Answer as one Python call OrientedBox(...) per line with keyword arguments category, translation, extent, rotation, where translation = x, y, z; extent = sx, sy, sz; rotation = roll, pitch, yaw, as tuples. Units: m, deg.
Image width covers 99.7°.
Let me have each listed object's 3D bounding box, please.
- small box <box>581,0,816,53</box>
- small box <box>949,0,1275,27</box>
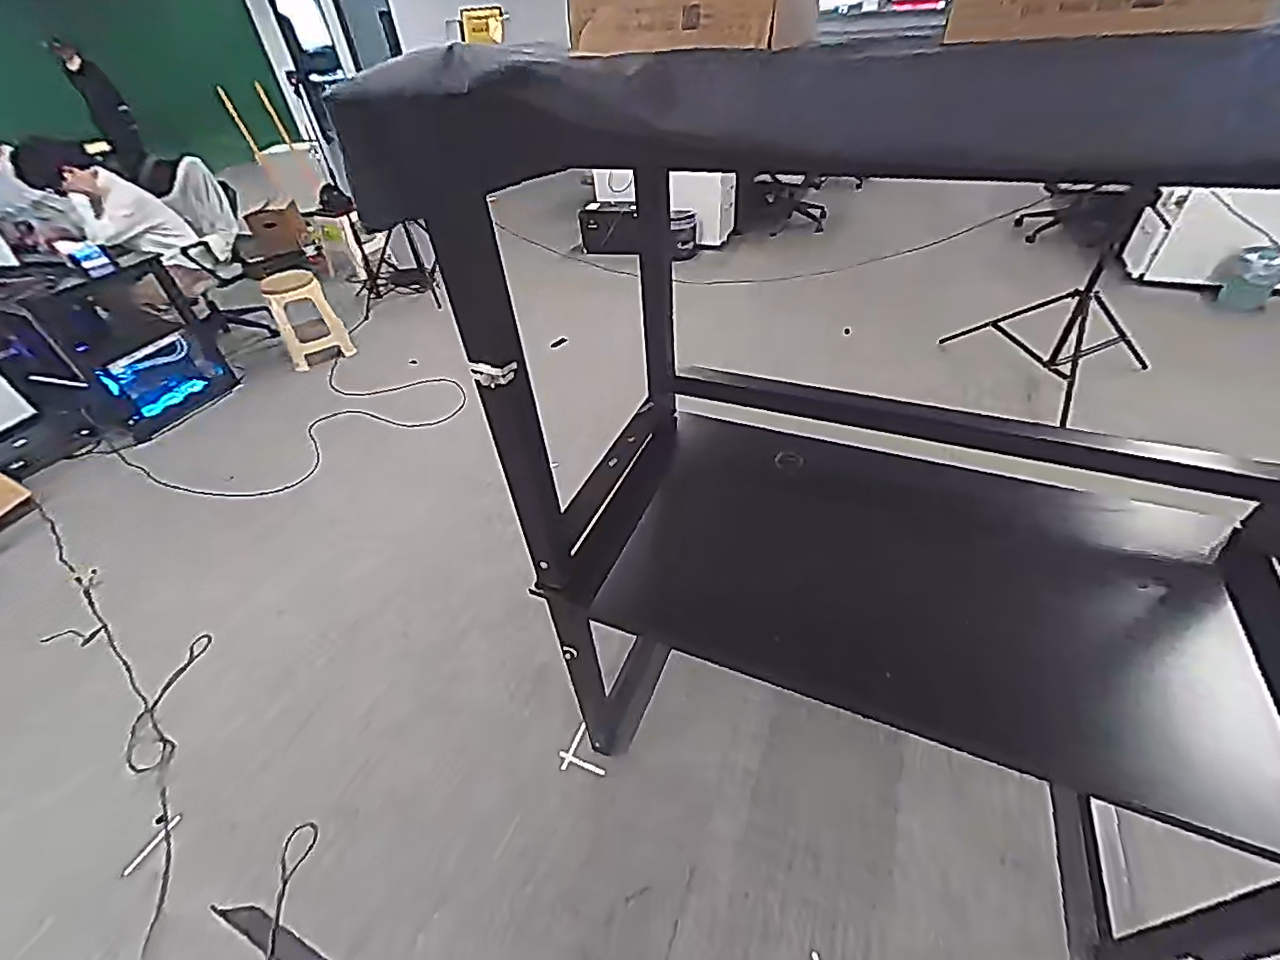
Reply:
OrientedBox(category="small box", translation=(0.052, -0.443, 0.416), extent=(0.168, 0.176, 0.179), rotation=(15, 44, 19))
OrientedBox(category="small box", translation=(0.301, -0.383, 0.323), extent=(0.168, 0.176, 0.179), rotation=(15, 43, 21))
